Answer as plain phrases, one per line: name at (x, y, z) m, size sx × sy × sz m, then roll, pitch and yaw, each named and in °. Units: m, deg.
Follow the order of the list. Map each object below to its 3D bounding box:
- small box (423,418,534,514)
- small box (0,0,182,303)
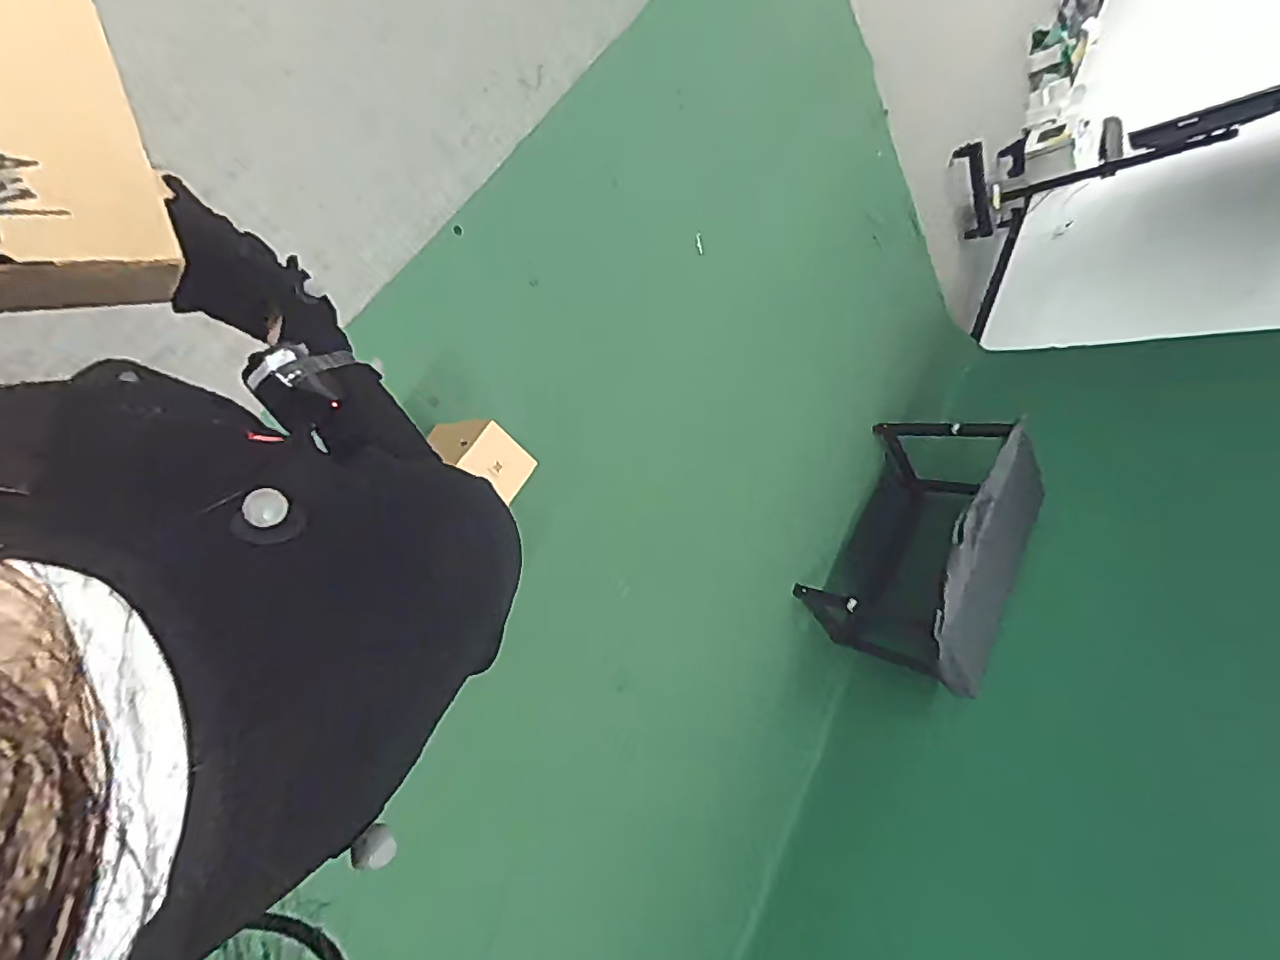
small box at (-0.406, -0.039, 1.351) m, size 0.168 × 0.176 × 0.179 m, roll 48°, pitch 64°, yaw -34°
small box at (-0.420, -0.209, 0.336) m, size 0.168 × 0.176 × 0.179 m, roll -24°, pitch 111°, yaw -40°
